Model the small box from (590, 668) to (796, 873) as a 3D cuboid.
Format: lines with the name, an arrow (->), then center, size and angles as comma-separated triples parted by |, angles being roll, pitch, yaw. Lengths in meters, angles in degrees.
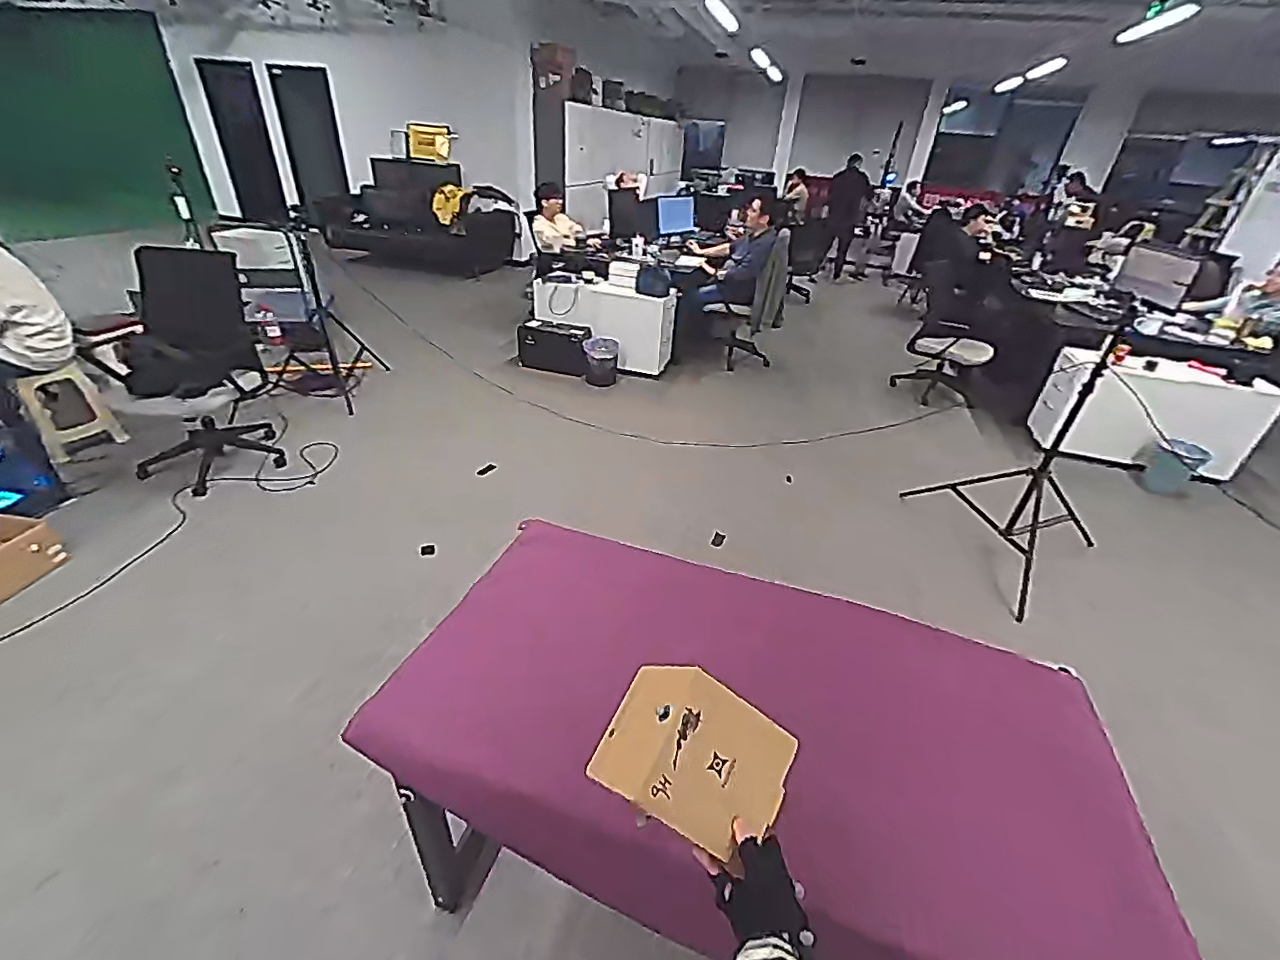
small box -> 0.064, 0.364, 0.712 | 0.179, 0.176, 0.168 | 38, 61, -9
